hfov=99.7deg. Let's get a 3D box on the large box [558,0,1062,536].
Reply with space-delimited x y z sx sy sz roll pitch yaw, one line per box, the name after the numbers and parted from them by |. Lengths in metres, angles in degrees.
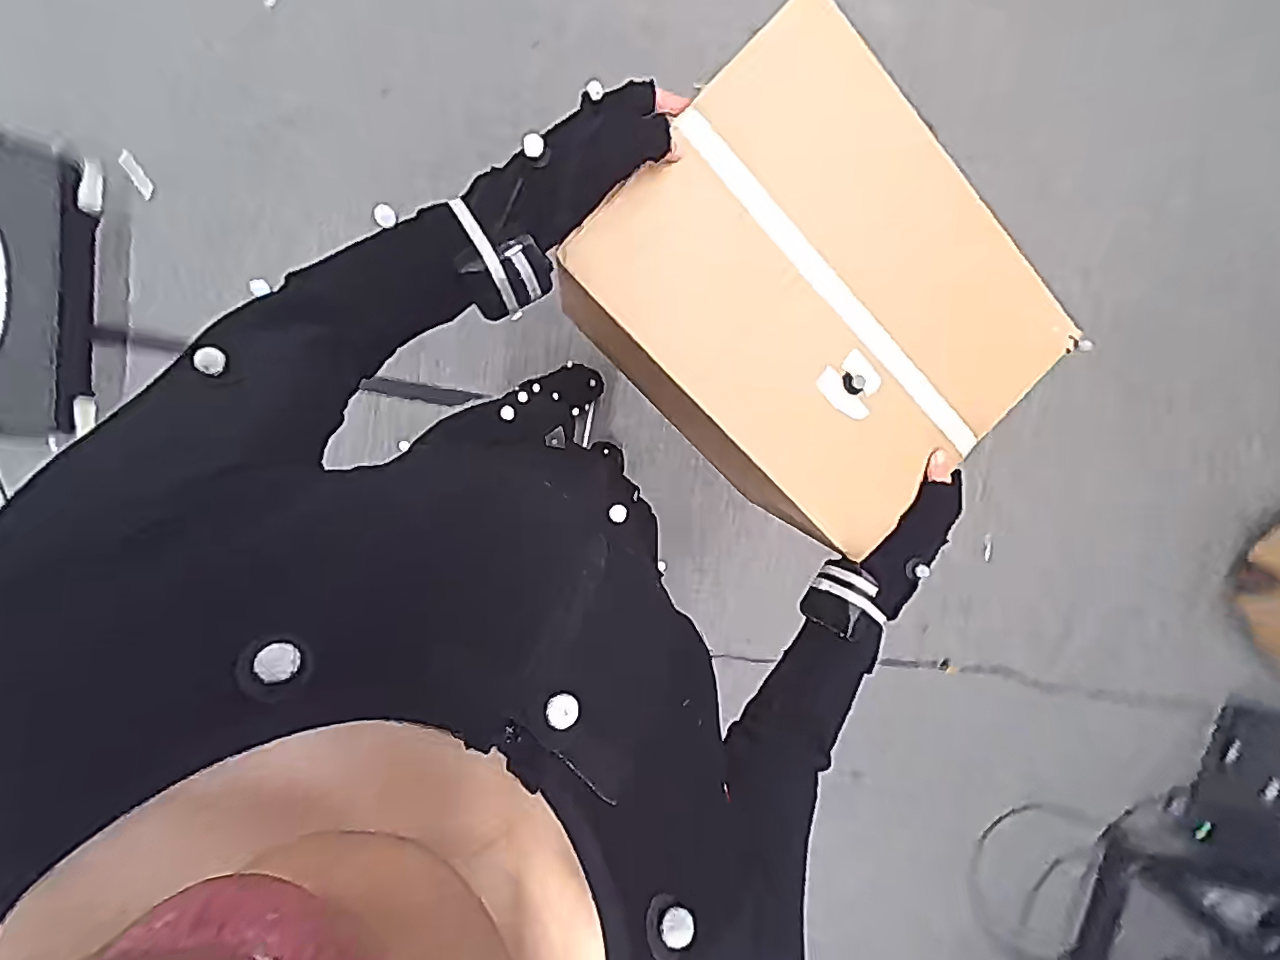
0.150 -0.204 0.639 0.408 0.320 0.320 43 92 -12 | large box
